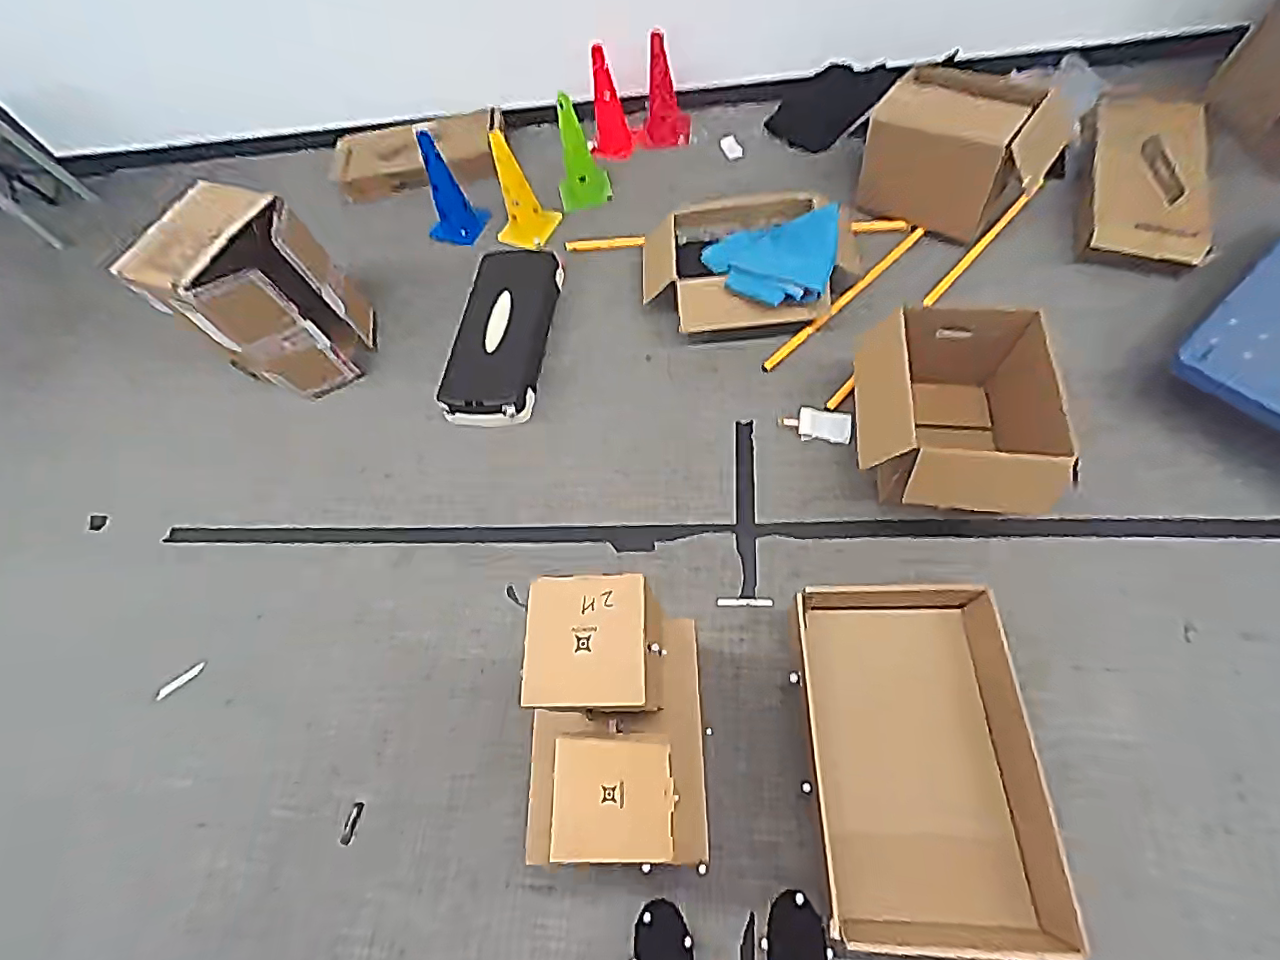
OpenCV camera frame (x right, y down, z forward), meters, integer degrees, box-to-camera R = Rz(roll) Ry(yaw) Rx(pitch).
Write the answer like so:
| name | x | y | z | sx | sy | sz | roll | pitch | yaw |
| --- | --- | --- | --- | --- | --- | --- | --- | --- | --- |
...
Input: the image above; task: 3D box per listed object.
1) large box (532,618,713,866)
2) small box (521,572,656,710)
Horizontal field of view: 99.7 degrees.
| name | x | y | z | sx | sy | sz | roll | pitch | yaw |
| --- | --- | --- | --- | --- | --- | --- | --- | --- | --- |
| large box | -0.022 | 0.522 | 1.116 | 0.320 | 0.320 | 0.408 | -4 | 64 | 6 |
| small box | -0.065 | 0.244 | 0.801 | 0.168 | 0.176 | 0.179 | -3 | 64 | 6 |
